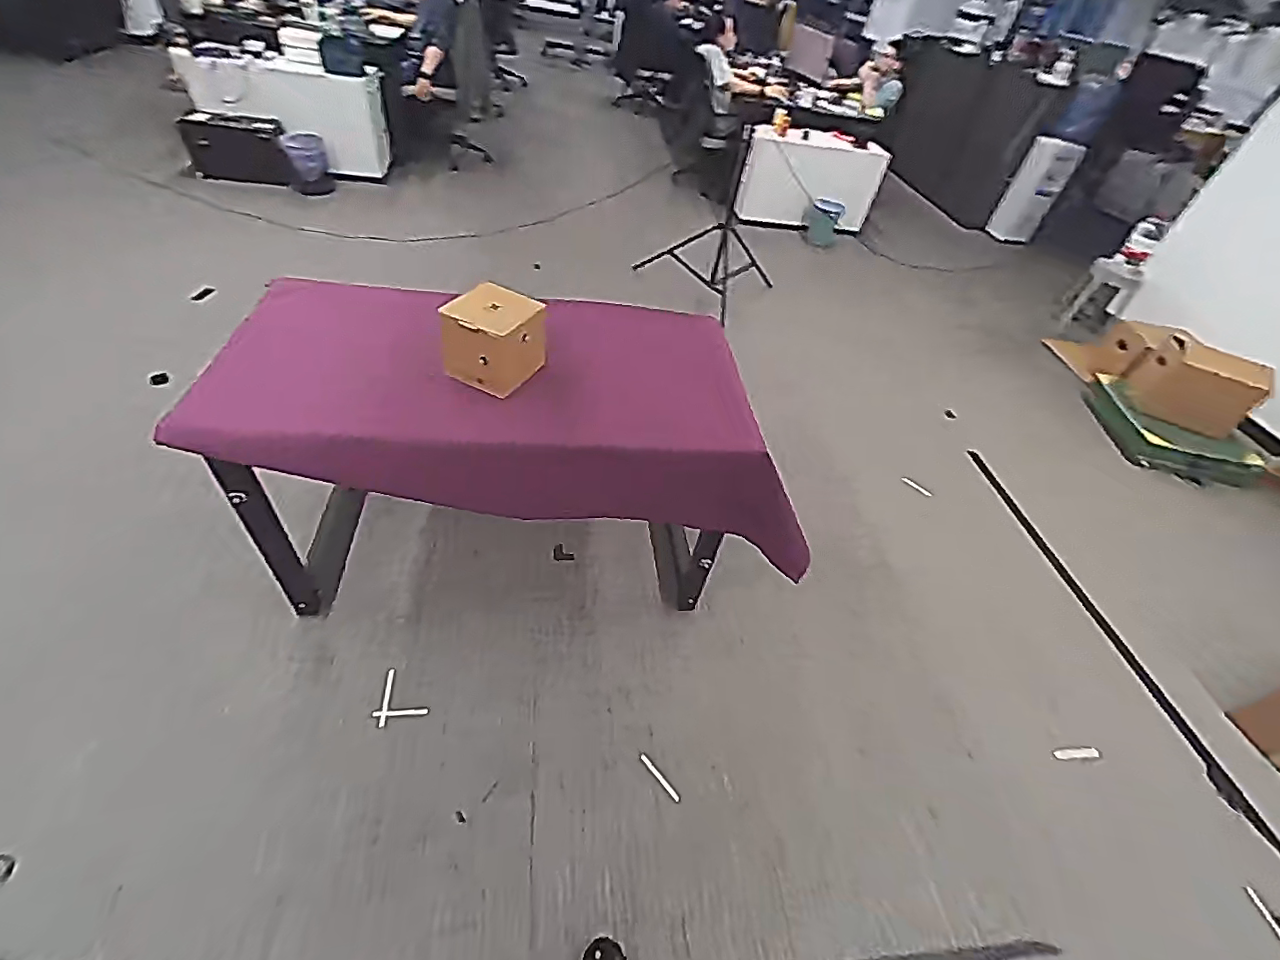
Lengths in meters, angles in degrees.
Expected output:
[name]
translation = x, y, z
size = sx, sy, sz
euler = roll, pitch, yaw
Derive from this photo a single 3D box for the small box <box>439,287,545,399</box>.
[small box]
translation = -0.333, -0.314, 1.252
size = 0.168, 0.176, 0.179
euler = 24, 46, 12
